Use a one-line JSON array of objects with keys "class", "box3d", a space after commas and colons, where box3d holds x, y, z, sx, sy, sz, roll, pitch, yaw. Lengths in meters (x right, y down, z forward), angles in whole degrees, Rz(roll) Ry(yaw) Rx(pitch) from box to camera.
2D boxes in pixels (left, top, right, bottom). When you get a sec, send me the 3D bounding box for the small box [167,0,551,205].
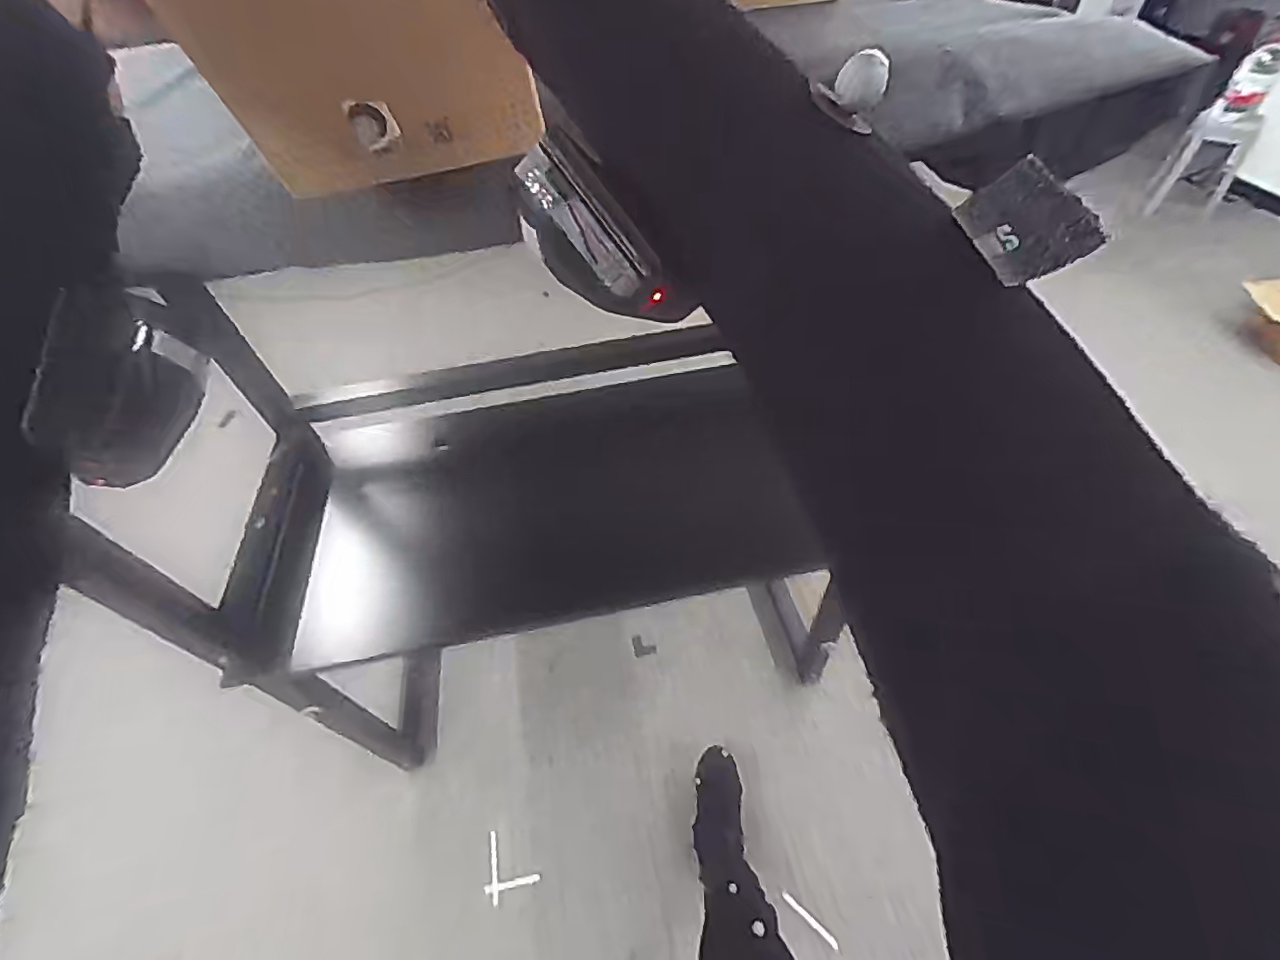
[{"class": "small box", "box3d": [-0.157, -0.295, 0.303, 0.168, 0.176, 0.179, -14, 66, -1]}]
